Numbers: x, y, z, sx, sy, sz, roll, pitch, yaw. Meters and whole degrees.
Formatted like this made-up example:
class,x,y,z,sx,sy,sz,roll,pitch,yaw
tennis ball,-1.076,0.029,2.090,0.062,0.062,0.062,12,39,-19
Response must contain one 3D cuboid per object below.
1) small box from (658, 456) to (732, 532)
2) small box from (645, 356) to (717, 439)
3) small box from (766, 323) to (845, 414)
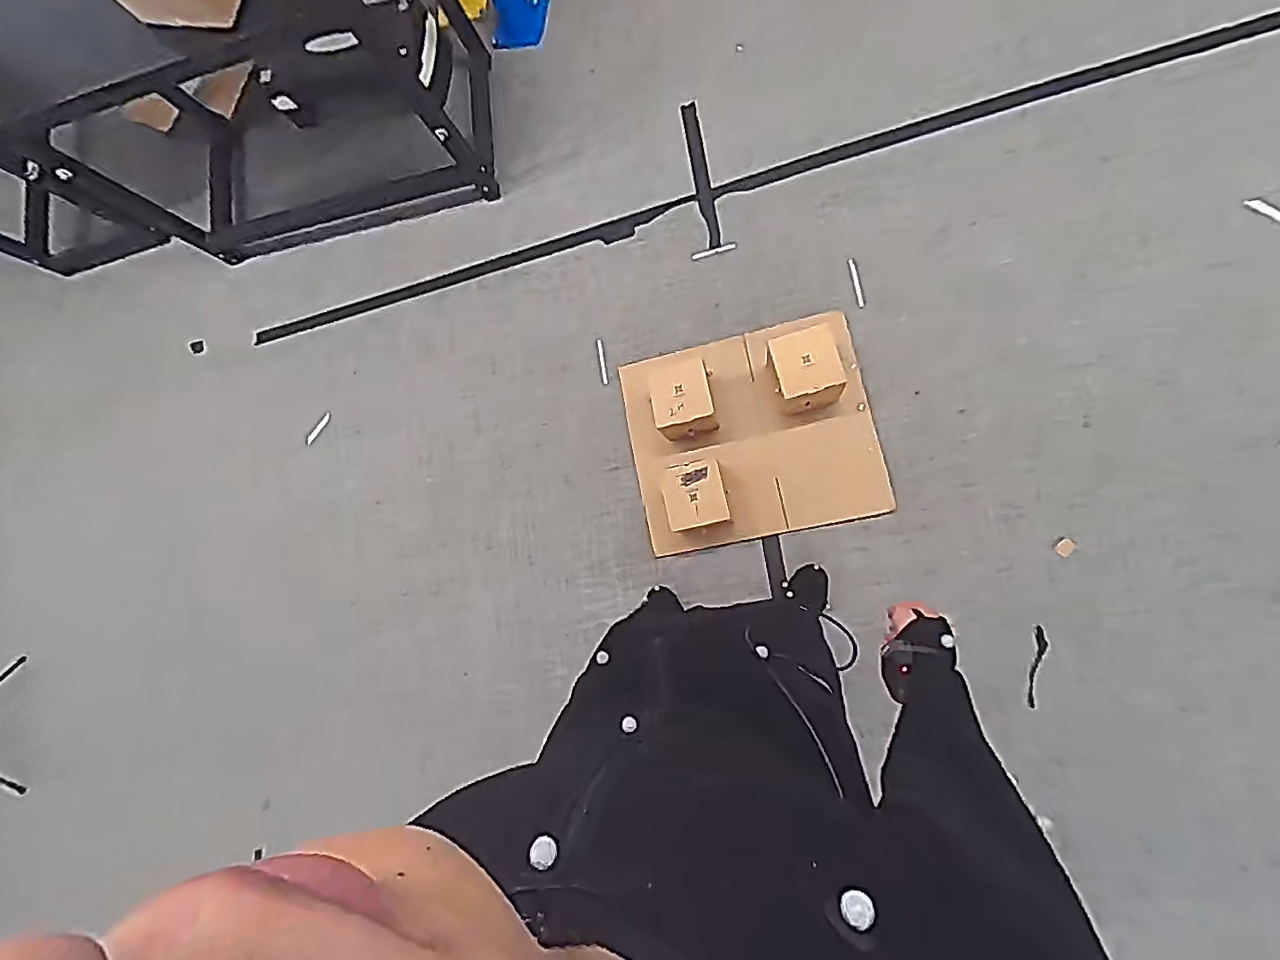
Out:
class,x,y,z,sx,sy,sz,roll,pitch,yaw
small box,0.158,0.046,1.529,0.168,0.176,0.179,-14,81,11
small box,0.123,-0.234,1.570,0.168,0.176,0.179,-13,81,12
small box,0.454,-0.305,1.510,0.168,0.176,0.179,-16,80,10
